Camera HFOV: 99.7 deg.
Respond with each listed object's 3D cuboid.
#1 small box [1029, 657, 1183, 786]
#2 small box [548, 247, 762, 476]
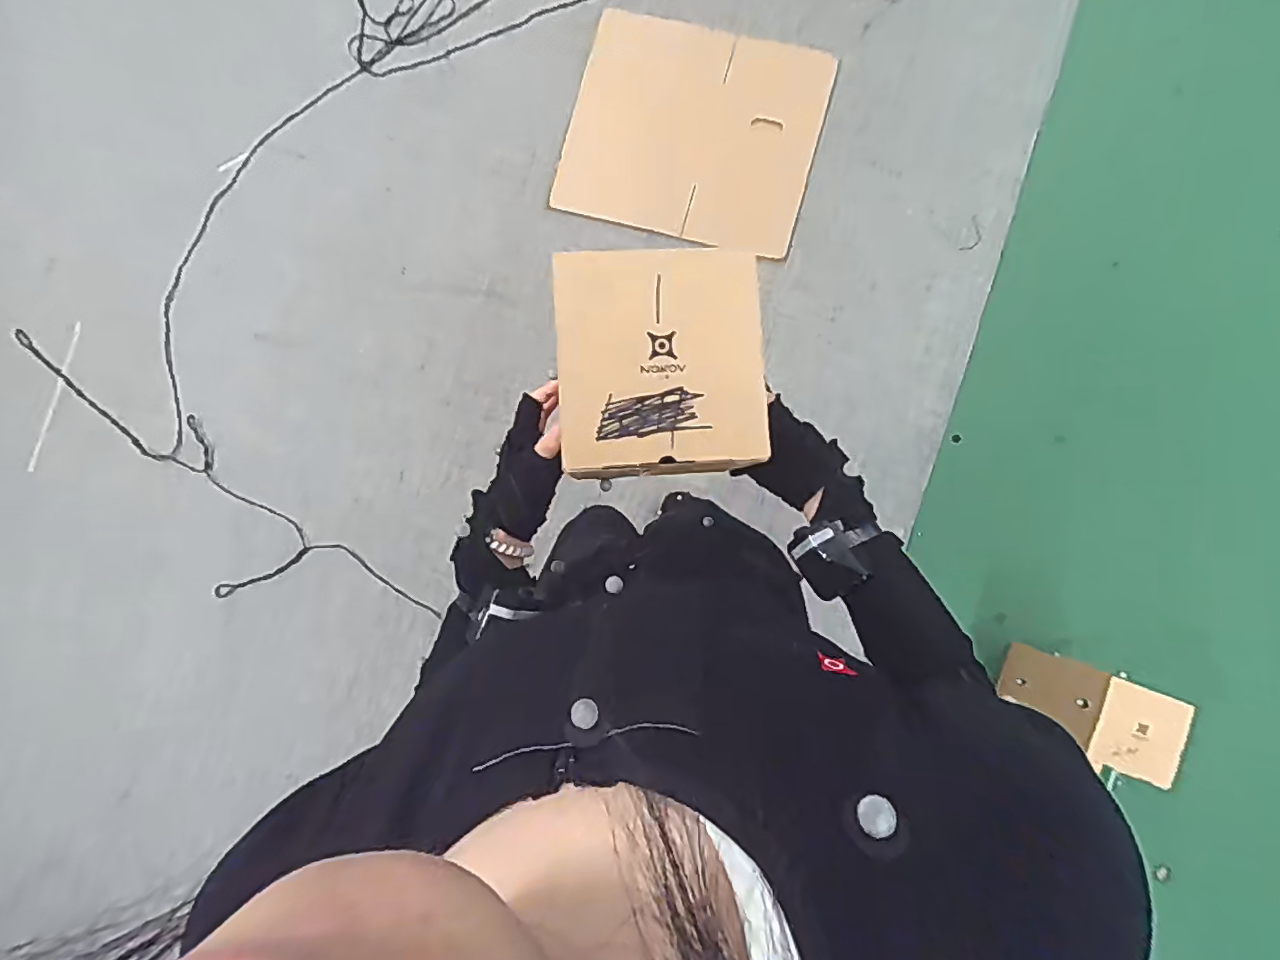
[{"bbox_3d":[0.987,0.505,1.163,0.168,0.176,0.179,21,88,5],"label":"small box"},{"bbox_3d":[0.008,-0.095,0.511,0.168,0.176,0.179,-4,87,-4],"label":"small box"}]
